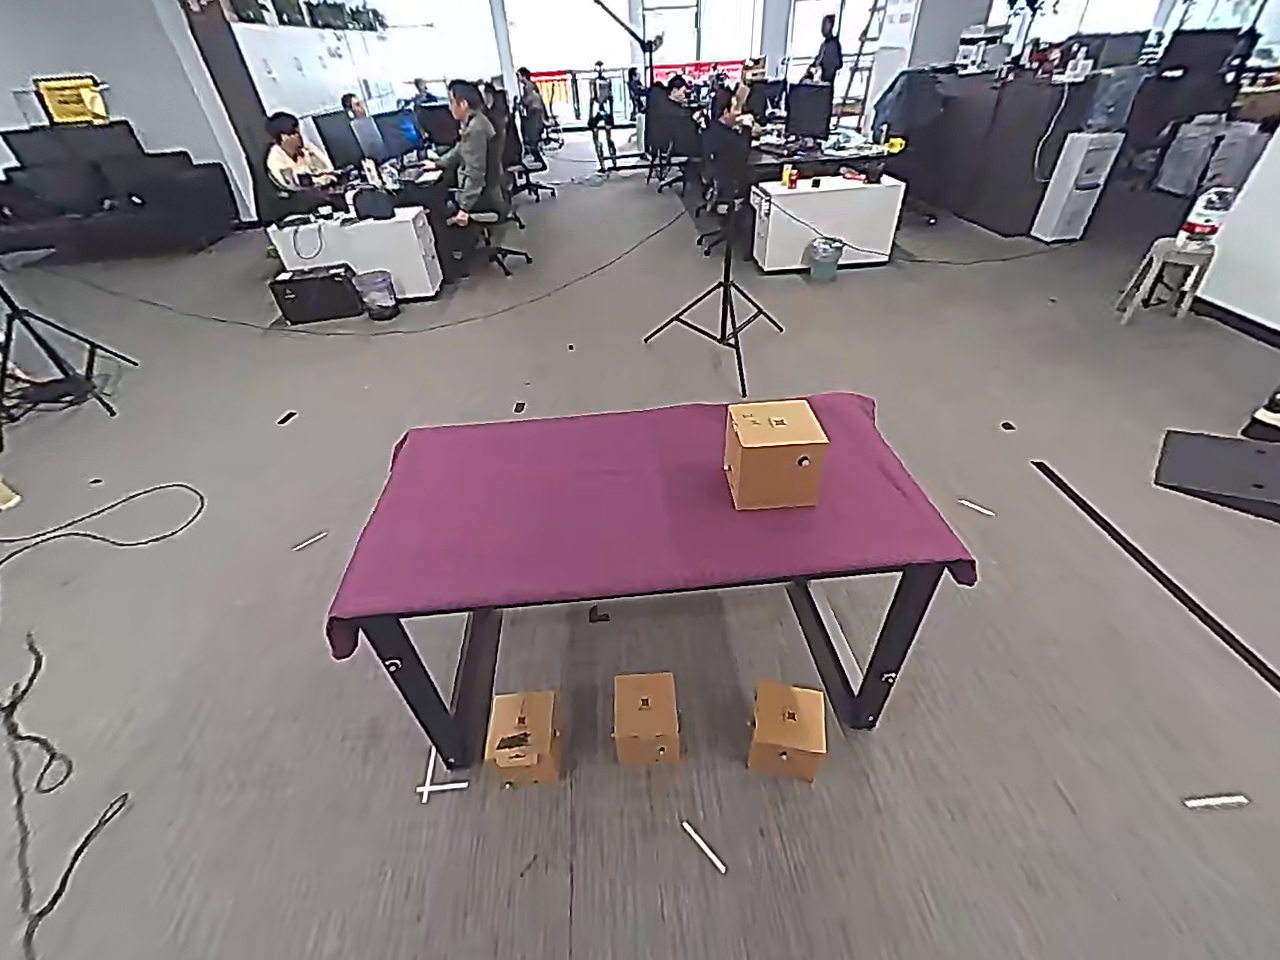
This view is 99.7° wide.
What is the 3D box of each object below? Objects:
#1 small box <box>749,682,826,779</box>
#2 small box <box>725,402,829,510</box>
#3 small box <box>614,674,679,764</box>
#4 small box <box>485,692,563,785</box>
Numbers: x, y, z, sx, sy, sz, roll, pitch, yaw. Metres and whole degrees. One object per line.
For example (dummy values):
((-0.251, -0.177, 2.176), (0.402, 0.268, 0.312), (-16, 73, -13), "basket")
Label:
((0.389, 0.668, 1.438), (0.179, 0.176, 0.168), (5, 41, 12), "small box")
((0.287, -0.052, 1.171), (0.179, 0.176, 0.168), (-4, 38, 0), "small box")
((0.018, 0.658, 1.480), (0.168, 0.176, 0.179), (-3, 38, -1), "small box")
((-0.302, 0.698, 1.452), (0.168, 0.176, 0.179), (-4, 38, -1), "small box")
